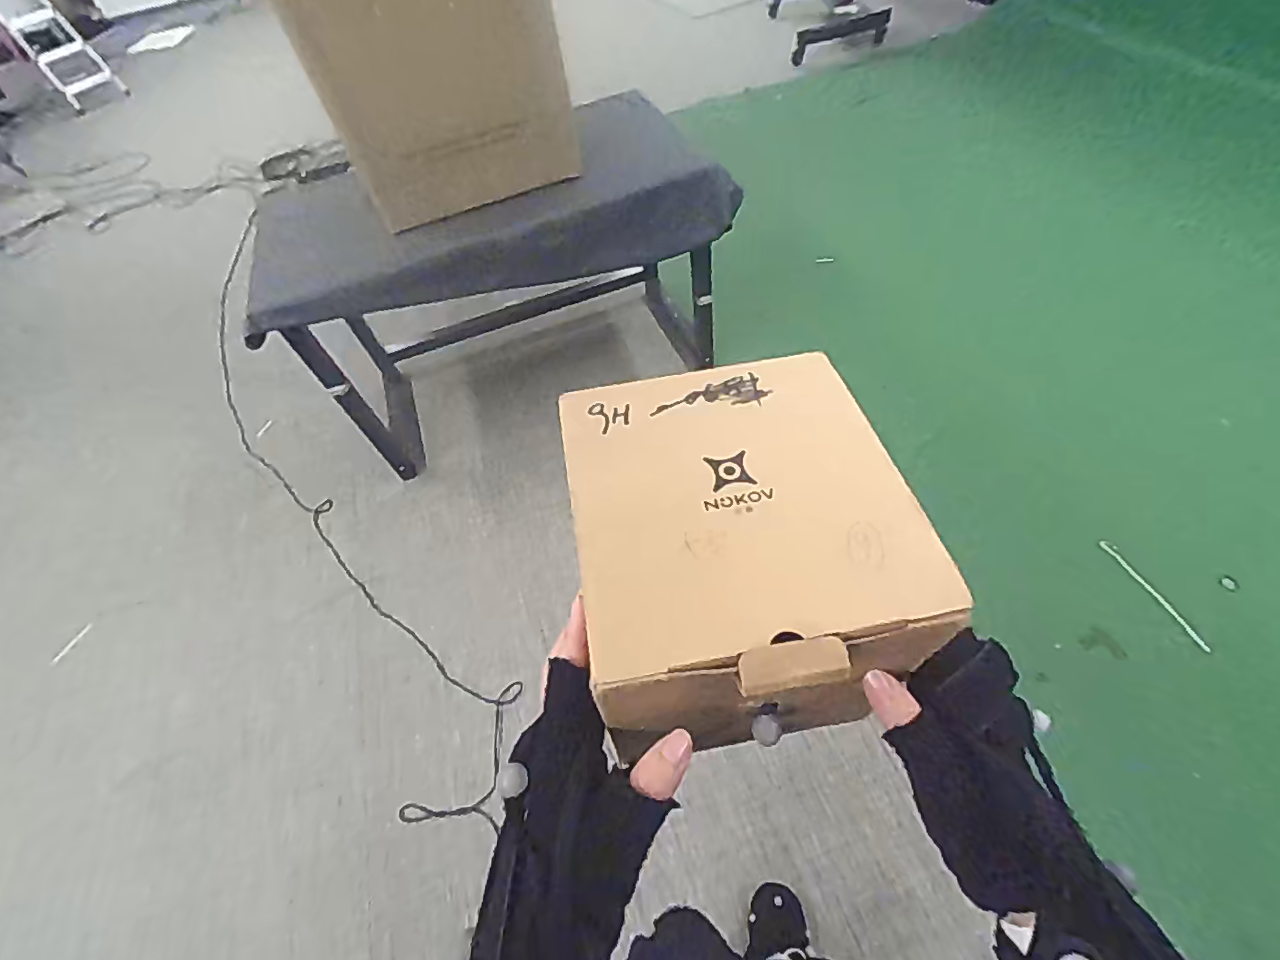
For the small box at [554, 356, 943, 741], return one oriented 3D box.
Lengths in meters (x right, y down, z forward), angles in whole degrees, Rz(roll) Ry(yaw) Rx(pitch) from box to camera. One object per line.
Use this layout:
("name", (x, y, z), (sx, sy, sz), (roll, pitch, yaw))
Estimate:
("small box", (0.045, 0.052, 0.342), (0.168, 0.176, 0.179), (-9, 53, -3))
